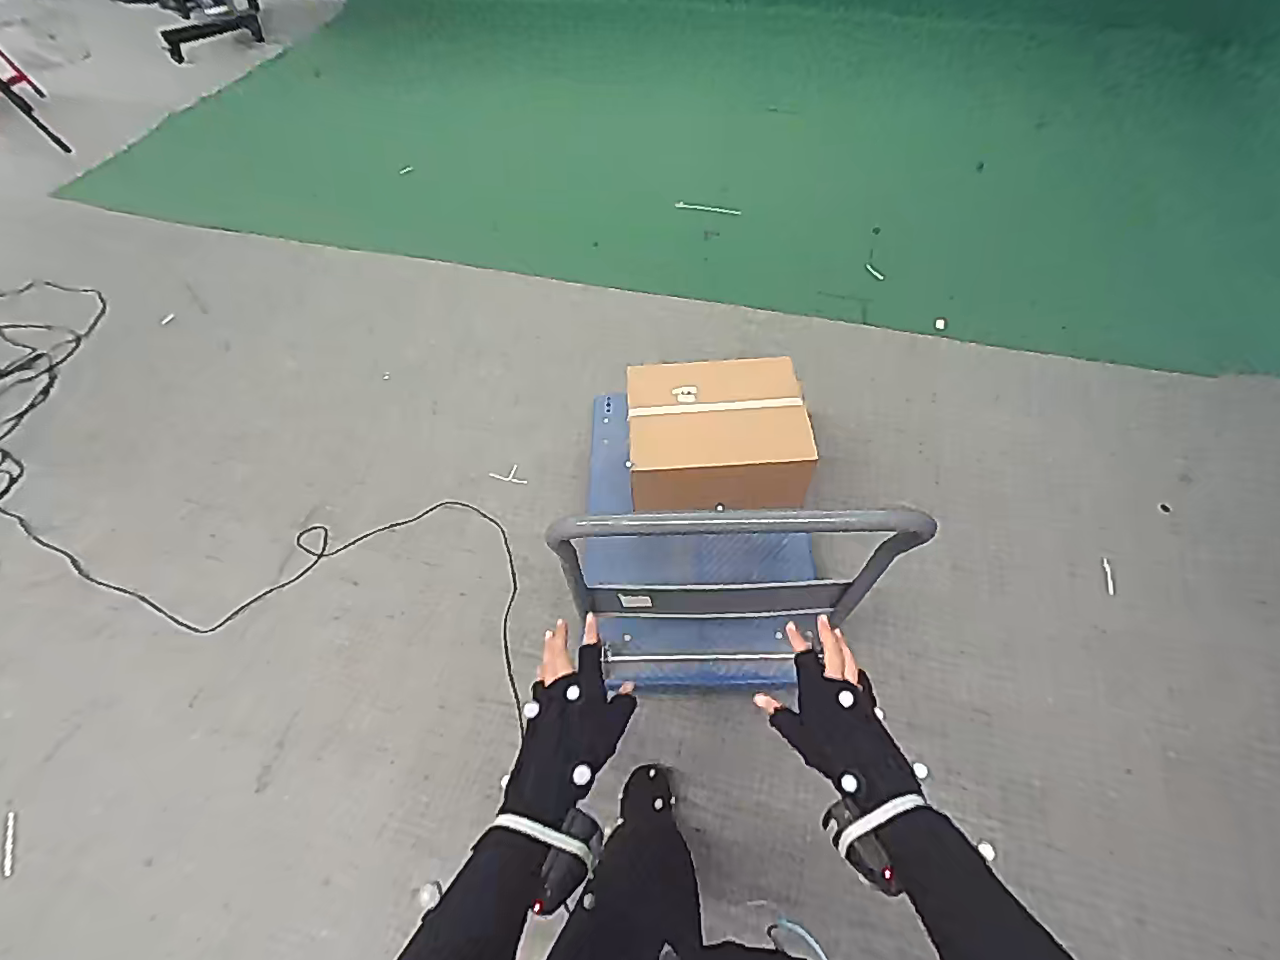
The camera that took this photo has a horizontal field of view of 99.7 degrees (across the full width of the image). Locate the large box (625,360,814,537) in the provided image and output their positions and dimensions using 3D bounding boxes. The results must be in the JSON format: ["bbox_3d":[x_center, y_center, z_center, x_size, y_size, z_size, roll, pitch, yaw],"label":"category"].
[{"bbox_3d":[0.181,-0.070,1.367,0.408,0.320,0.320,-4,56,2],"label":"large box"}]
